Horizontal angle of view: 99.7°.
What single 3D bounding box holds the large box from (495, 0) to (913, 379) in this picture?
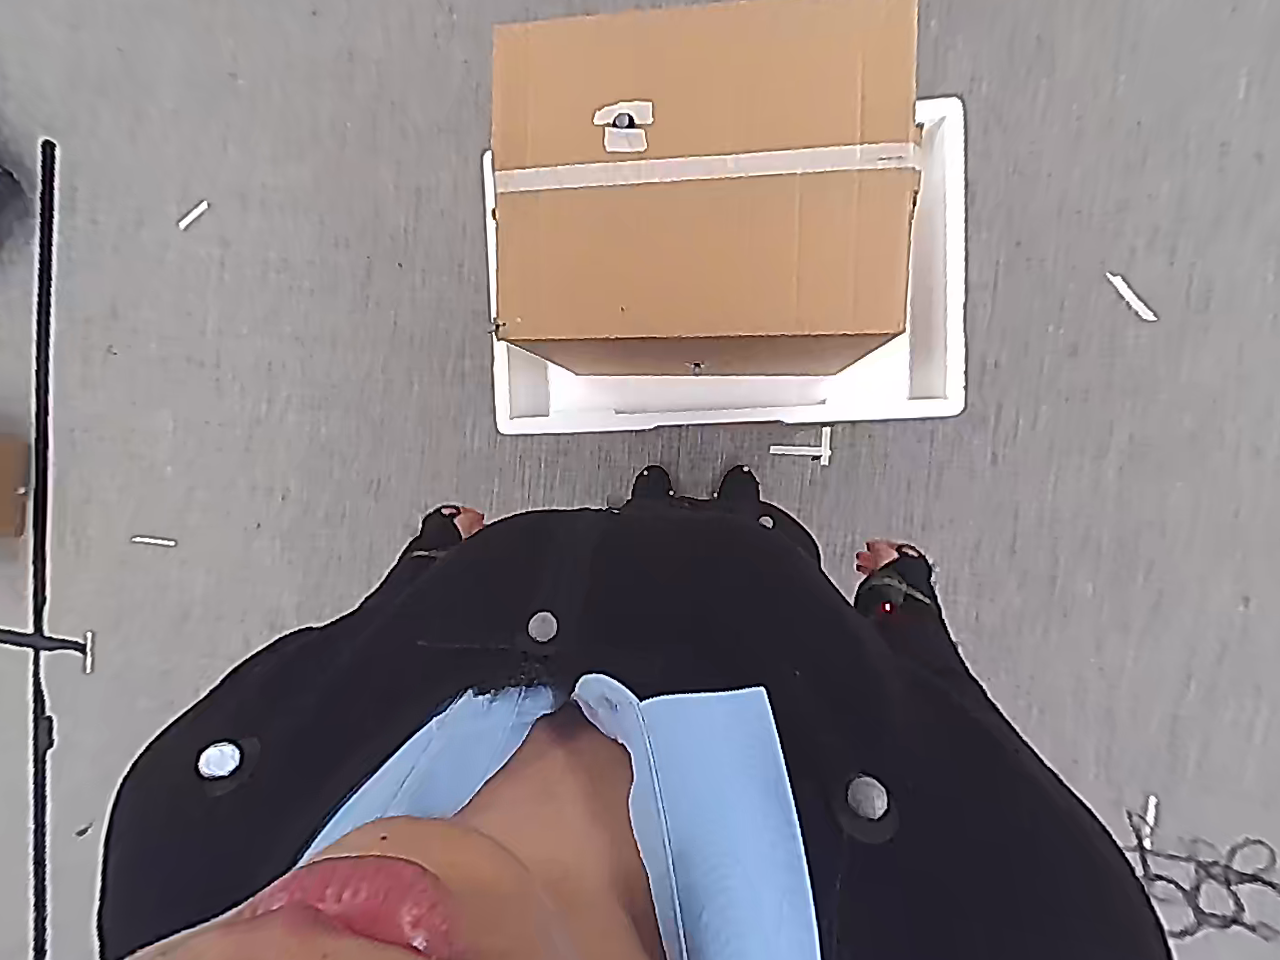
[{"bbox_3d":[0.076,-0.299,0.668,0.408,0.320,0.320,1,93,9],"label":"large box"}]
